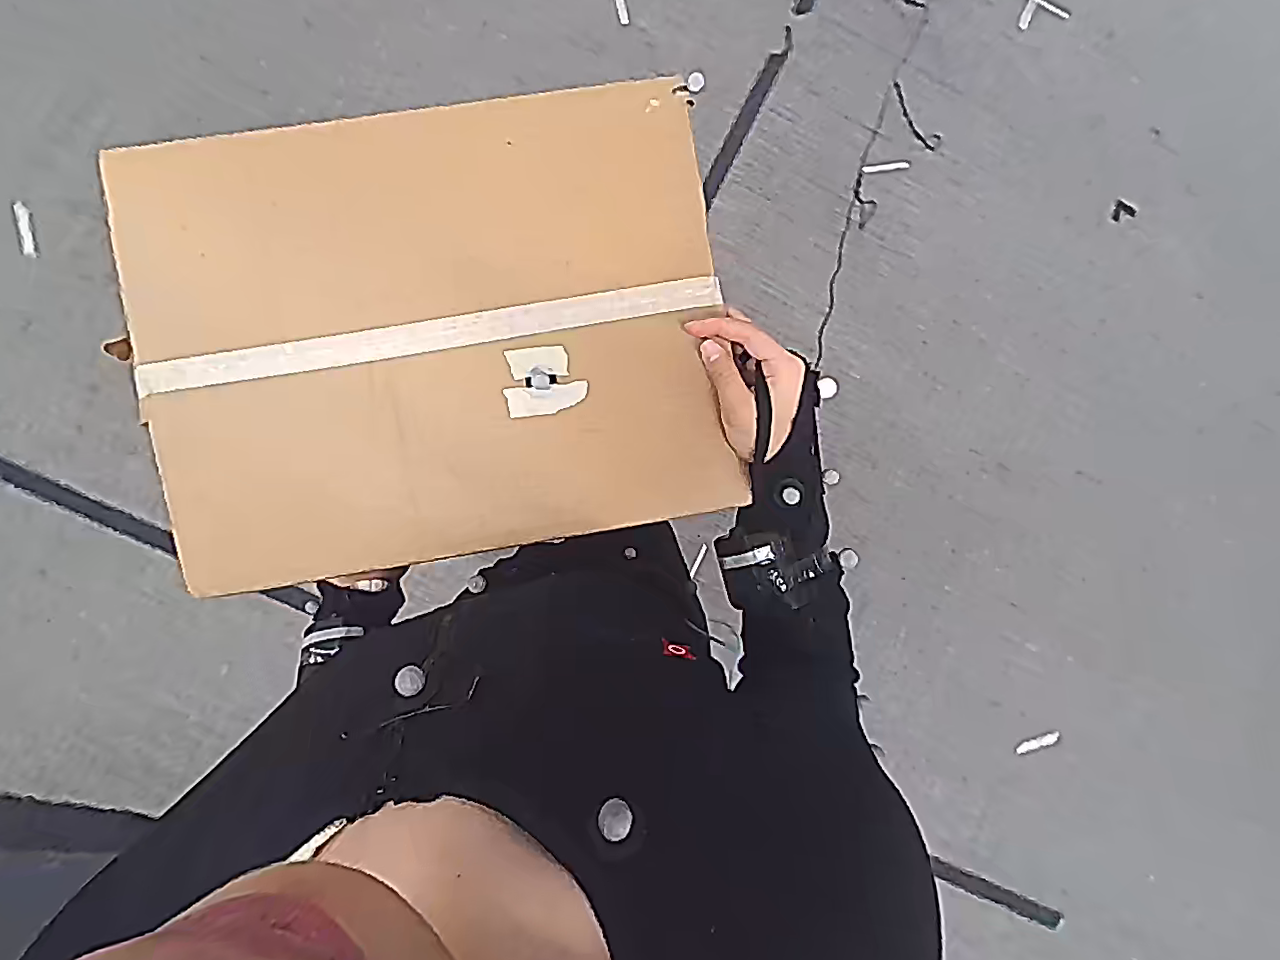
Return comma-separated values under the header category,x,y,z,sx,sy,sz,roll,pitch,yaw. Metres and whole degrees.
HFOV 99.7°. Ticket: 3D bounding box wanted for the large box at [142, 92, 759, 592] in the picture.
category,x,y,z,sx,sy,sz,roll,pitch,yaw
large box,-0.139,-0.106,0.540,0.408,0.320,0.320,-9,93,-4
